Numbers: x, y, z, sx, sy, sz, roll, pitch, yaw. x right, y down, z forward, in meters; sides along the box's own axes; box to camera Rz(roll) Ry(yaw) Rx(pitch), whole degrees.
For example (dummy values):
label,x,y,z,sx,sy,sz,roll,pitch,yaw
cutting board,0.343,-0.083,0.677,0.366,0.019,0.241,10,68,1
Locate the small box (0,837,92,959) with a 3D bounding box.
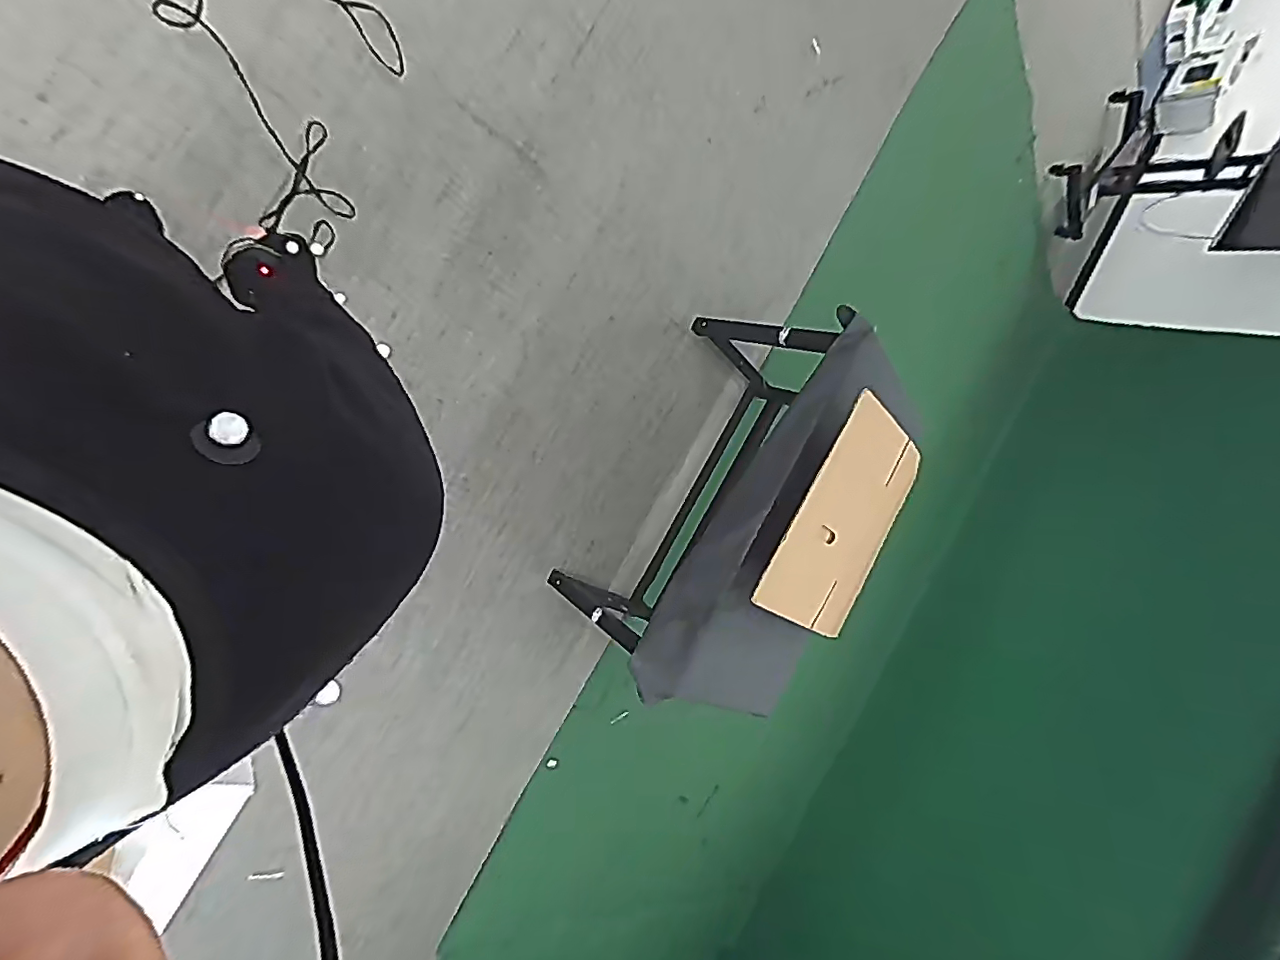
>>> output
label,x,y,z,sx,sy,sz,roll,pitch,yaw
small box,-0.916,0.632,0.754,0.168,0.176,0.179,33,86,-45
